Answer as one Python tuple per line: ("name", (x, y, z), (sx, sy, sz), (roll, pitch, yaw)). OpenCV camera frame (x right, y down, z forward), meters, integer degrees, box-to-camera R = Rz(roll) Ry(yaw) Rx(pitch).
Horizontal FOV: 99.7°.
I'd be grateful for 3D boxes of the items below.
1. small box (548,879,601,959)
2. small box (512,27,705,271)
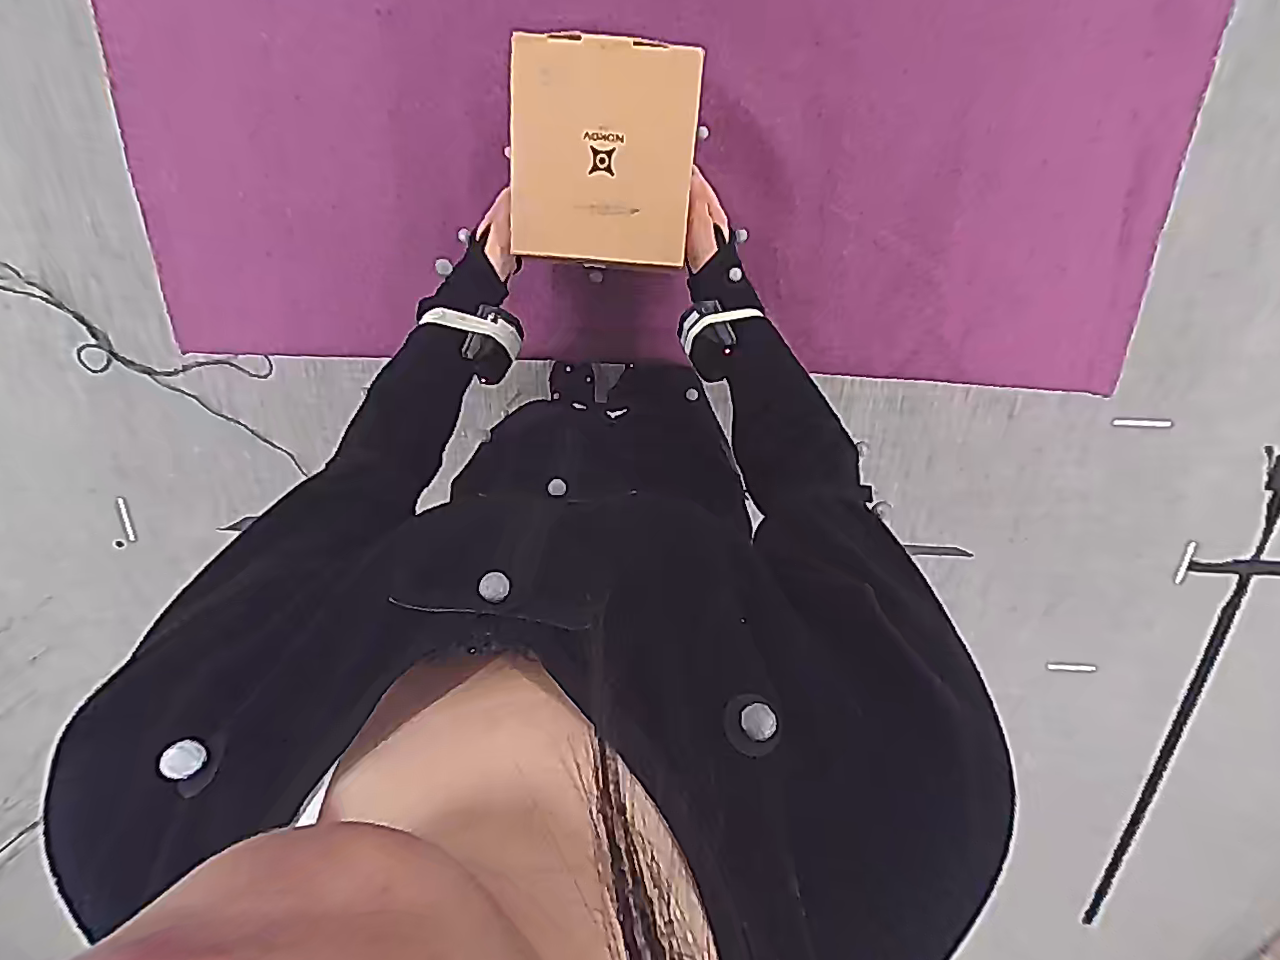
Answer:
("small box", (-0.233, 1.600, 1.972), (0.168, 0.176, 0.179), (-4, 110, 1))
("small box", (-0.032, -0.318, 0.556), (0.168, 0.176, 0.179), (4, 110, 0))
